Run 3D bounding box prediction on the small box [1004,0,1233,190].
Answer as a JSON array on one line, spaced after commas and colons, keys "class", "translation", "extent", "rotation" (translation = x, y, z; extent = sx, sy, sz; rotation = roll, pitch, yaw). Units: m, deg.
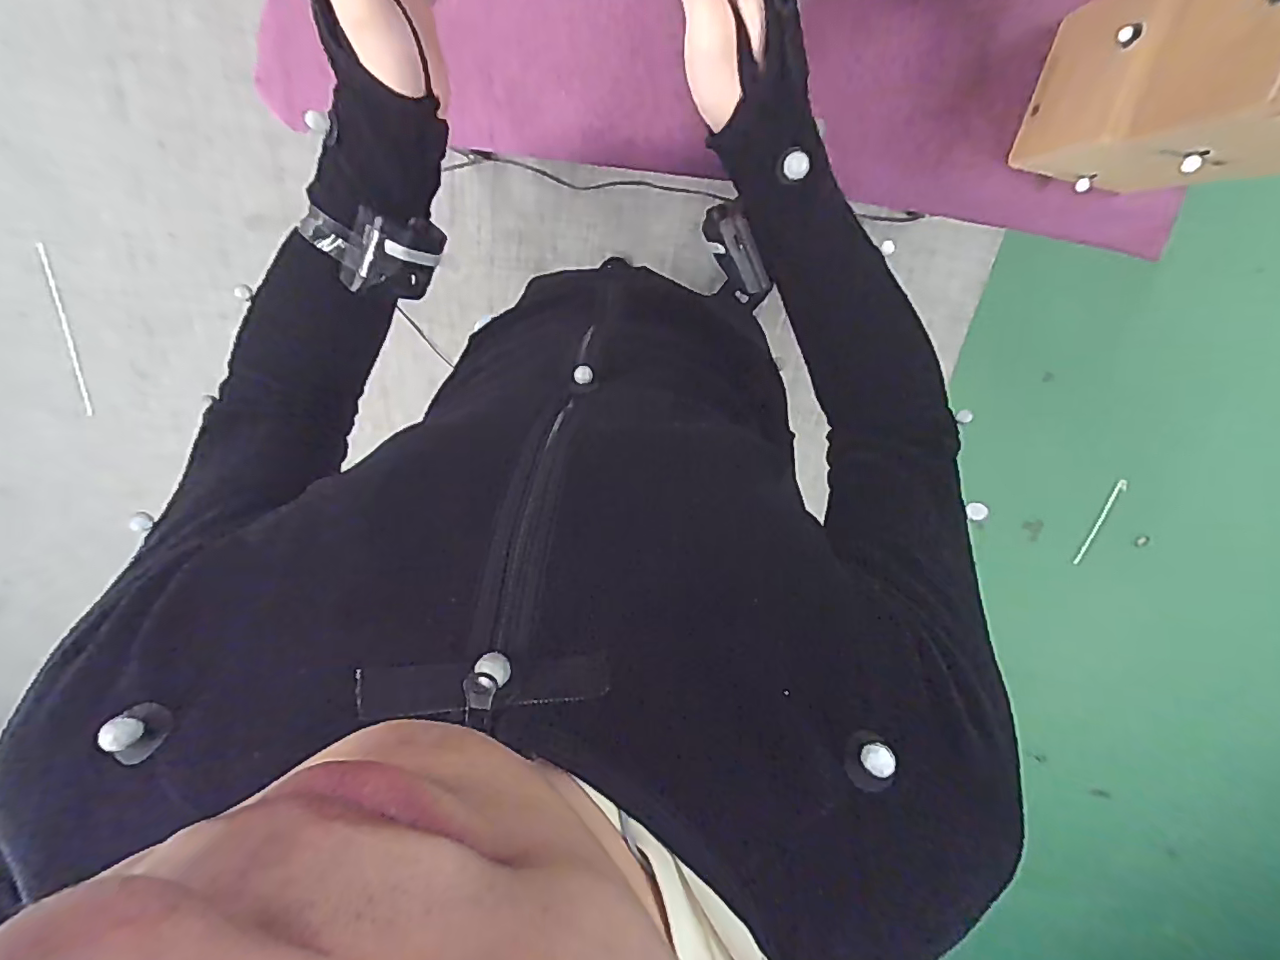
[{"class": "small box", "translation": [0.583, -0.449, 0.628], "extent": [0.179, 0.176, 0.168], "rotation": [11, 112, -3]}]
